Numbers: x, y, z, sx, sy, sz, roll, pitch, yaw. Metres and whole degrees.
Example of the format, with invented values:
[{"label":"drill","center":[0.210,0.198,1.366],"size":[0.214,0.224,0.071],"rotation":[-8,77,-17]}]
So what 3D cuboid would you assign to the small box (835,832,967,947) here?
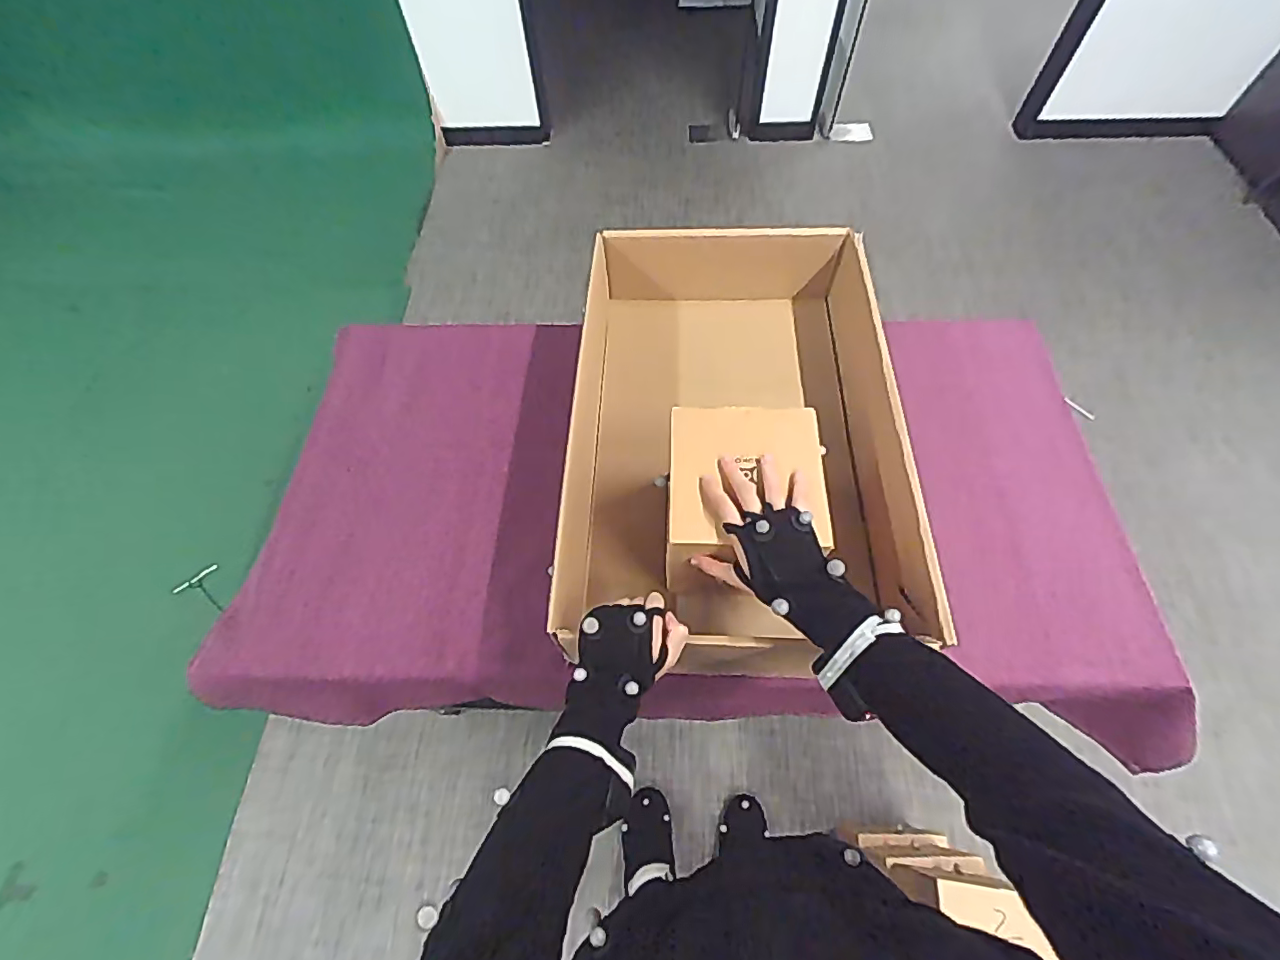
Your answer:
[{"label":"small box","center":[0.517,0.819,1.098],"size":[0.179,0.176,0.168],"rotation":[-1,61,2]}]

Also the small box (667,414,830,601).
[{"label":"small box","center":[0.119,0.039,0.653],"size":[0.168,0.176,0.179],"rotation":[1,59,4]}]
